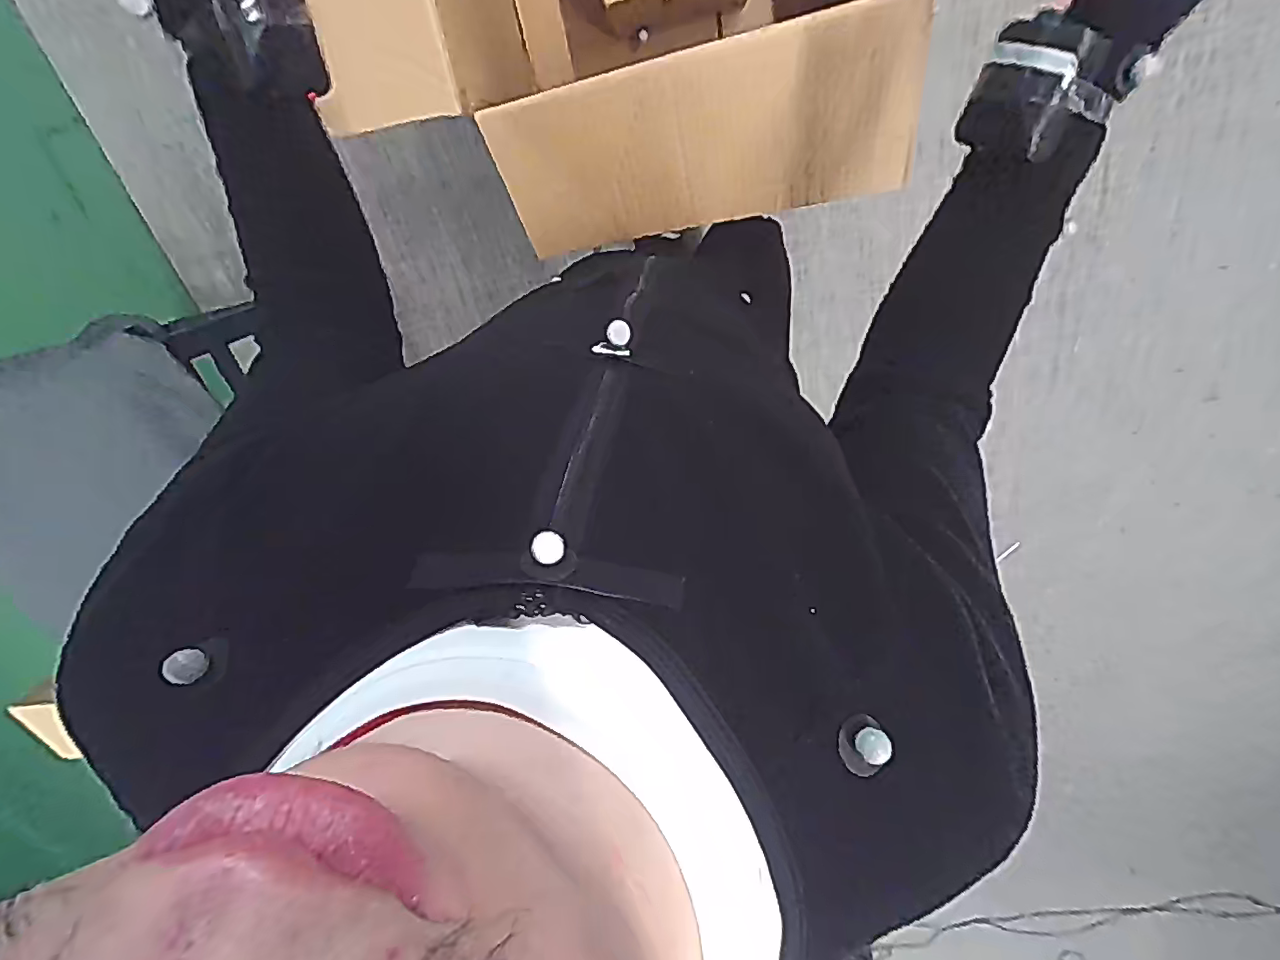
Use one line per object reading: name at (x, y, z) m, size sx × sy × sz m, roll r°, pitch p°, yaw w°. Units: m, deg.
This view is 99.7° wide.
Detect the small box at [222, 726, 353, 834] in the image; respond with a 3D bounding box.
small box at (-0.818, 0.707, 1.283) m, size 0.179 × 0.176 × 0.168 m, roll -8°, pitch 119°, yaw 10°

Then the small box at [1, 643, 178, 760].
small box at (-1.148, 0.467, 1.152) m, size 0.179 × 0.176 × 0.168 m, roll -8°, pitch 119°, yaw 10°
